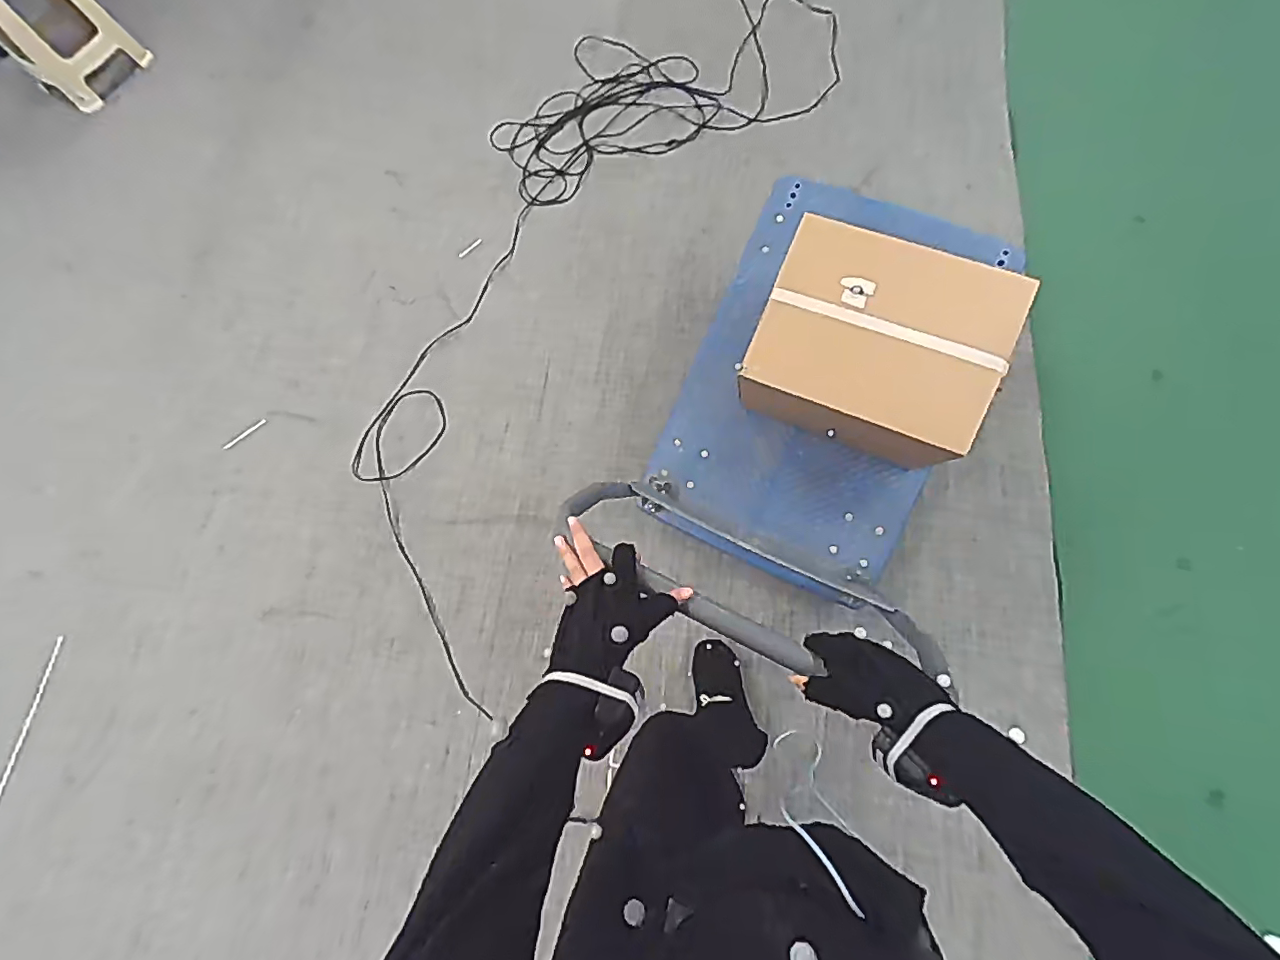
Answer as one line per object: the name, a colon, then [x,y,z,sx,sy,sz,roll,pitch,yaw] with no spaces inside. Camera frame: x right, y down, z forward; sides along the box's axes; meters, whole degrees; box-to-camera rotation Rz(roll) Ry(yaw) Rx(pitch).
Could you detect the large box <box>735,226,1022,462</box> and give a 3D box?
large box: [0.441,-0.249,1.093,0.408,0.320,0.320,22,92,12]
